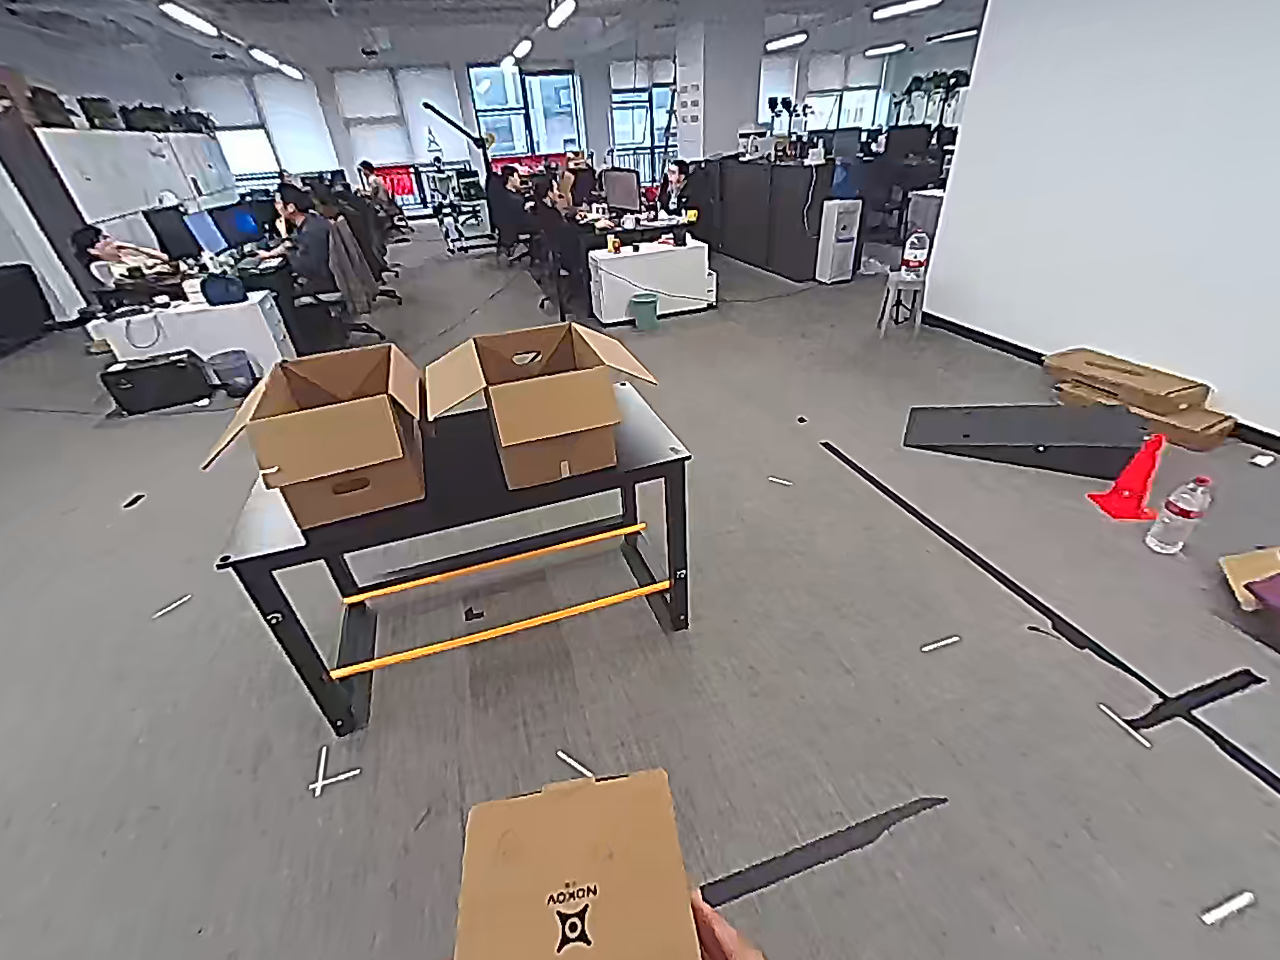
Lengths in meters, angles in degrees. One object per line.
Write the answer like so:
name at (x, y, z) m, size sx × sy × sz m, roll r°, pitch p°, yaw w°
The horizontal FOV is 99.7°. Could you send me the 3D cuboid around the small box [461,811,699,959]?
small box at (-0.036, 0.397, 0.416) m, size 0.168 × 0.176 × 0.179 m, roll -9°, pitch 36°, yaw -4°
